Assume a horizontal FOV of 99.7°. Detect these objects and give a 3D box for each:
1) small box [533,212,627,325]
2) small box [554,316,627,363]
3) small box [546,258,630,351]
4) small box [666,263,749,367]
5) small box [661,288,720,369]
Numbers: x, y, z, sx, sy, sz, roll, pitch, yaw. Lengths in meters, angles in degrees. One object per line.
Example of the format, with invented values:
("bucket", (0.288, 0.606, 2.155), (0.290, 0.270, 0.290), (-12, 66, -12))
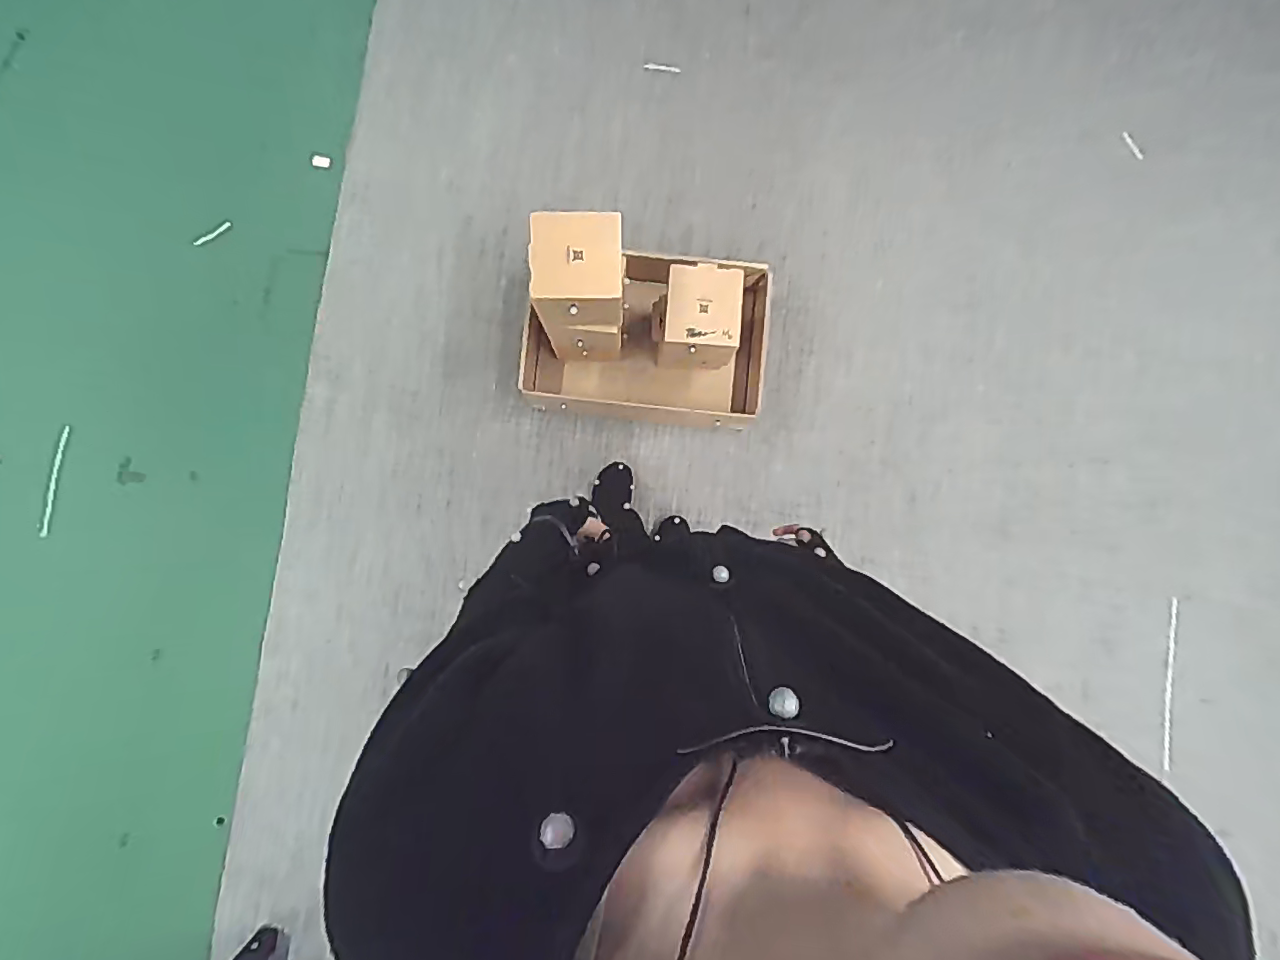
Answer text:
("small box", (-0.115, -0.420, 1.095), (0.179, 0.176, 0.168), (0, 88, 0))
("small box", (-0.125, -0.411, 1.422), (0.179, 0.176, 0.168), (3, 88, -3))
("small box", (-0.114, -0.410, 1.258), (0.168, 0.176, 0.179), (7, 88, -1))
("small box", (0.150, -0.376, 1.257), (0.168, 0.176, 0.179), (5, 86, 1))
("small box", (0.145, -0.391, 1.421), (0.179, 0.176, 0.168), (1, 87, 0))
